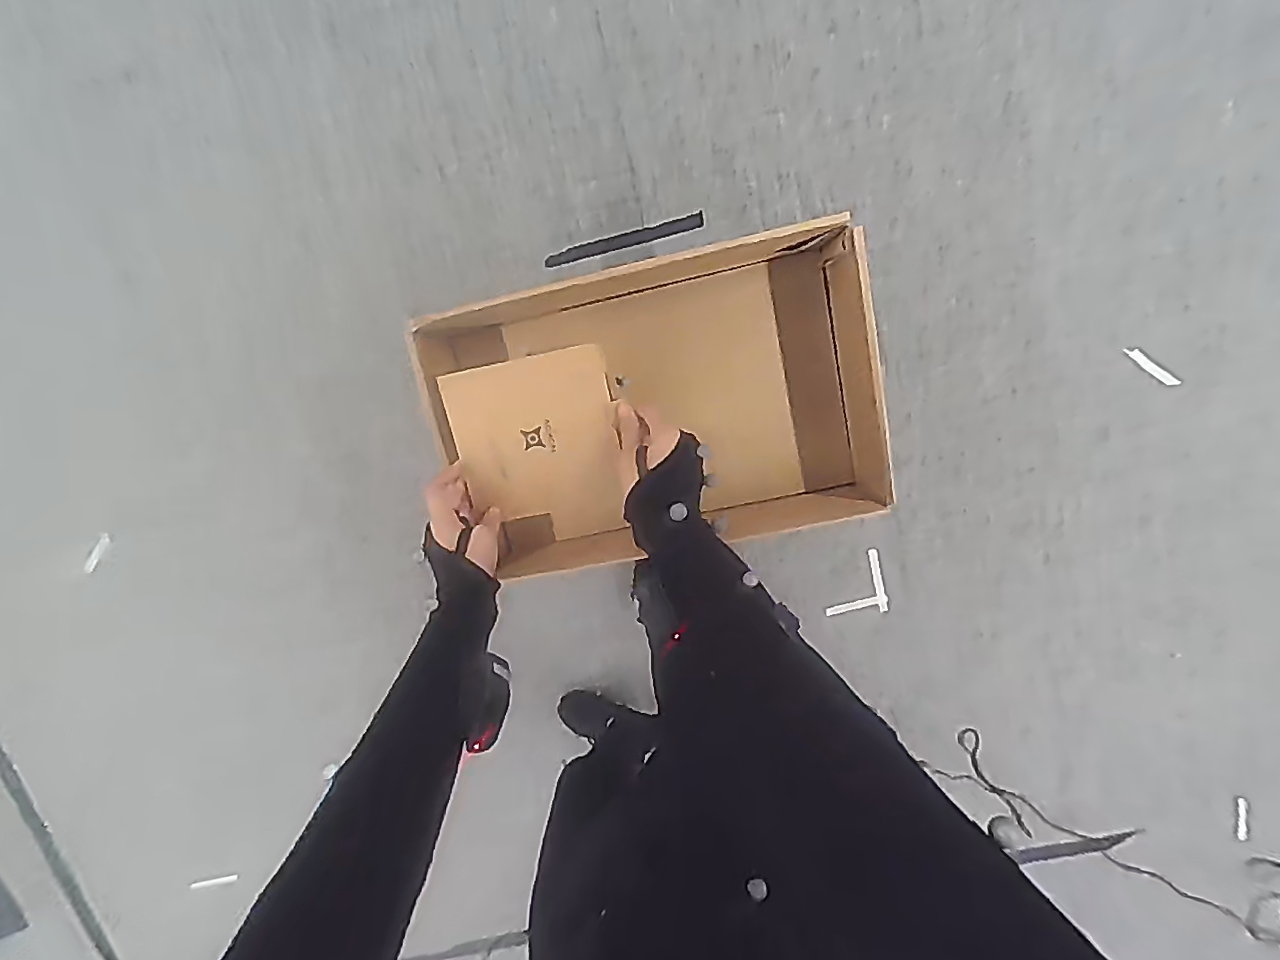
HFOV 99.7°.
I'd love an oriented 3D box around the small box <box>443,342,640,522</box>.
[{"bbox_3d":[-0.098,-0.065,0.637,0.179,0.176,0.168,-11,102,6],"label":"small box"}]
